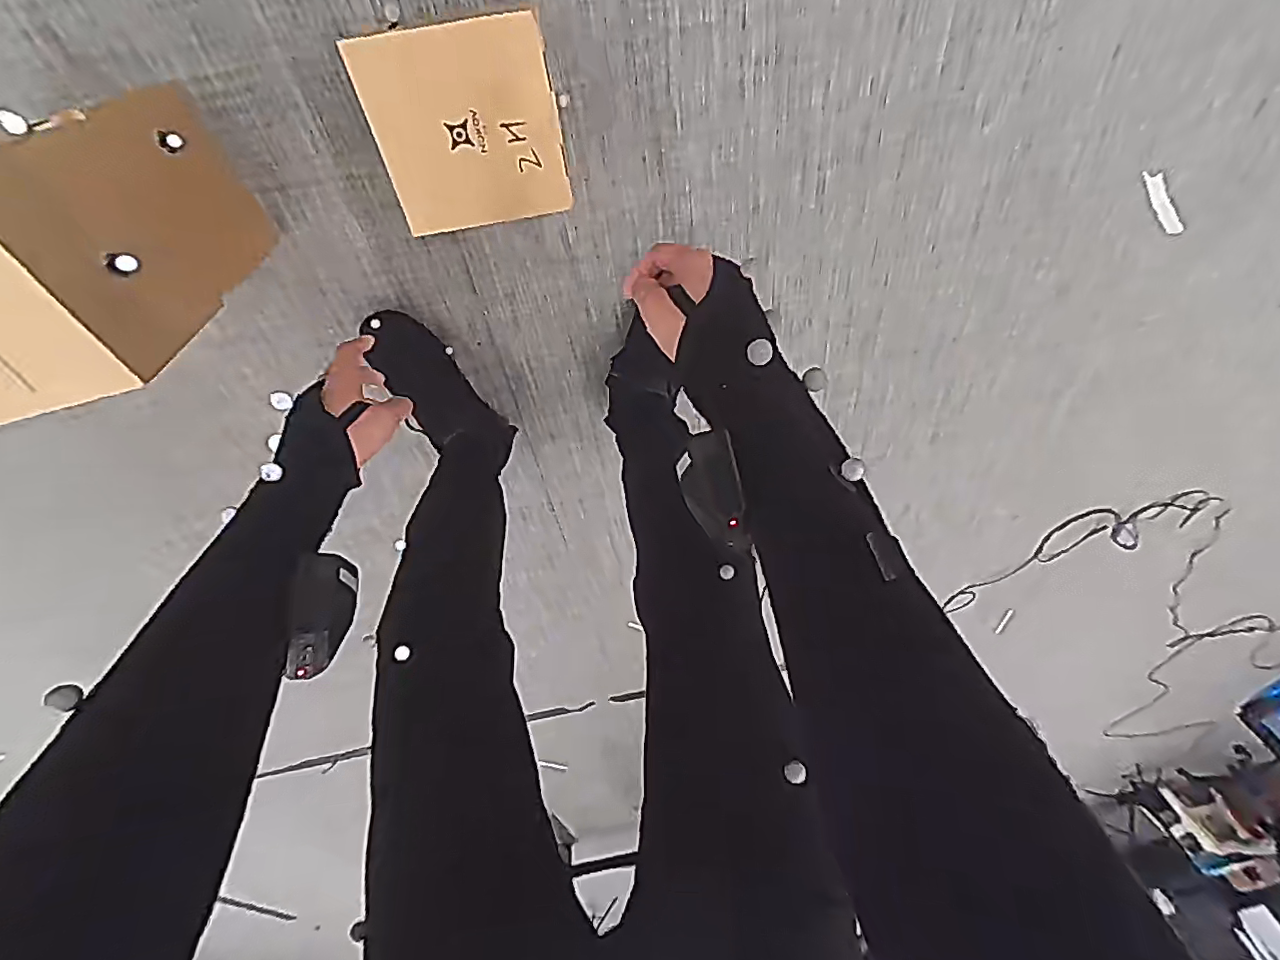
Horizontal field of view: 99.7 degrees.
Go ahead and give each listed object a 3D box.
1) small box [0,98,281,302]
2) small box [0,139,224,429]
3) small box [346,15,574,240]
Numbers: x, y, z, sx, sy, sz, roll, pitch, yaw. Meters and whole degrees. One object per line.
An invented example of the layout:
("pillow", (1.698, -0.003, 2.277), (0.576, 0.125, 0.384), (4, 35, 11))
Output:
("small box", (-0.544, -0.290, 0.588), (0.168, 0.176, 0.179), (-15, 134, 3))
("small box", (-0.528, -0.175, 0.473), (0.168, 0.176, 0.179), (-13, 134, 2))
("small box", (-0.173, -0.379, 0.579), (0.179, 0.176, 0.168), (-11, 134, -3))
